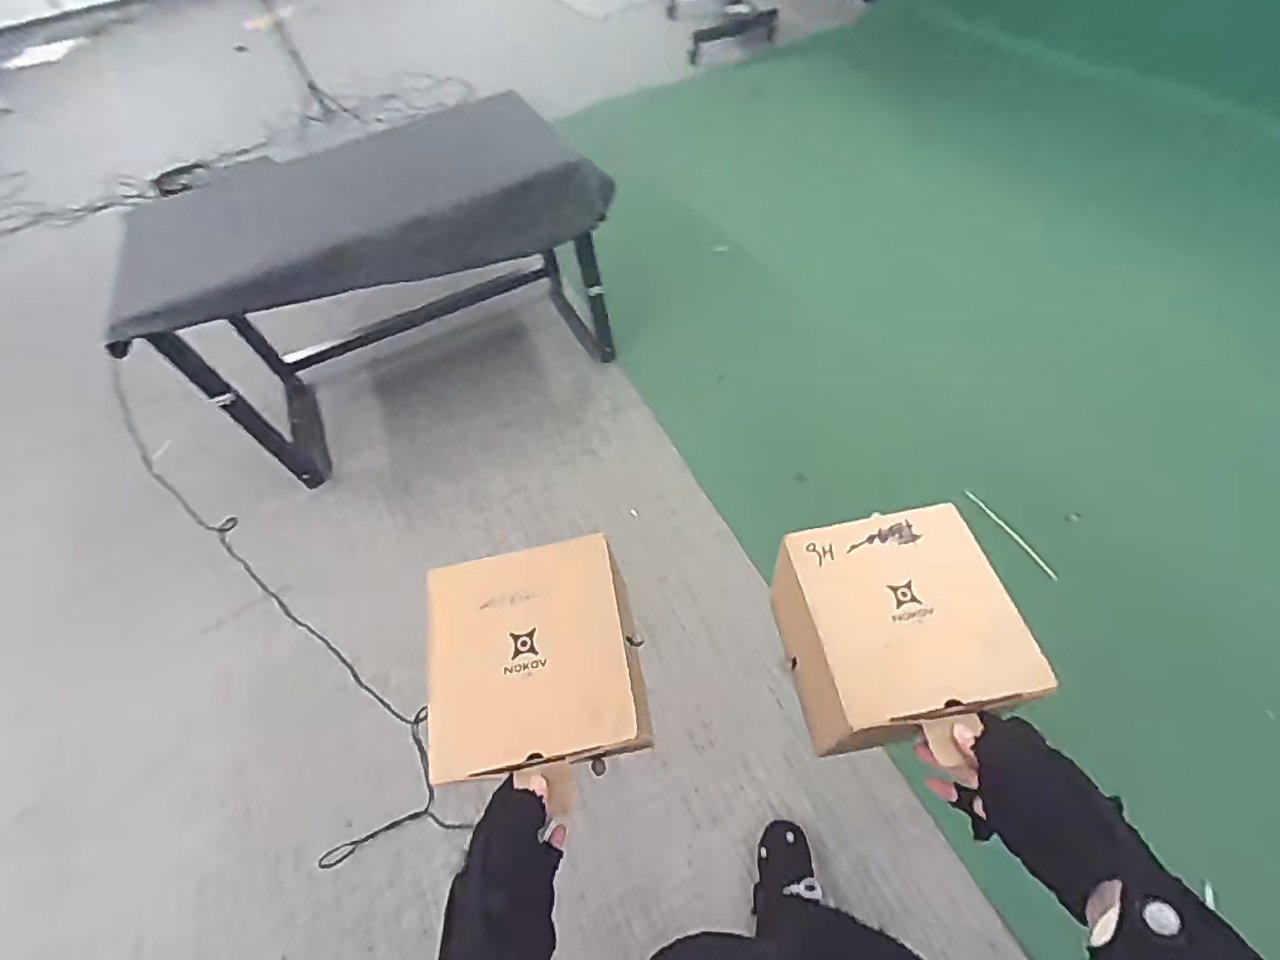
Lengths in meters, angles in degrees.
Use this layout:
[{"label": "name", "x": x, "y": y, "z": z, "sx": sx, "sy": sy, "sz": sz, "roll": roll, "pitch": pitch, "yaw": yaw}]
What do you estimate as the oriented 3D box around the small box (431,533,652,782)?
[{"label": "small box", "x": -0.087, "y": 0.177, "z": 0.526, "sx": 0.168, "sy": 0.176, "sz": 0.179, "roll": -13, "pitch": 61, "yaw": -2}]
